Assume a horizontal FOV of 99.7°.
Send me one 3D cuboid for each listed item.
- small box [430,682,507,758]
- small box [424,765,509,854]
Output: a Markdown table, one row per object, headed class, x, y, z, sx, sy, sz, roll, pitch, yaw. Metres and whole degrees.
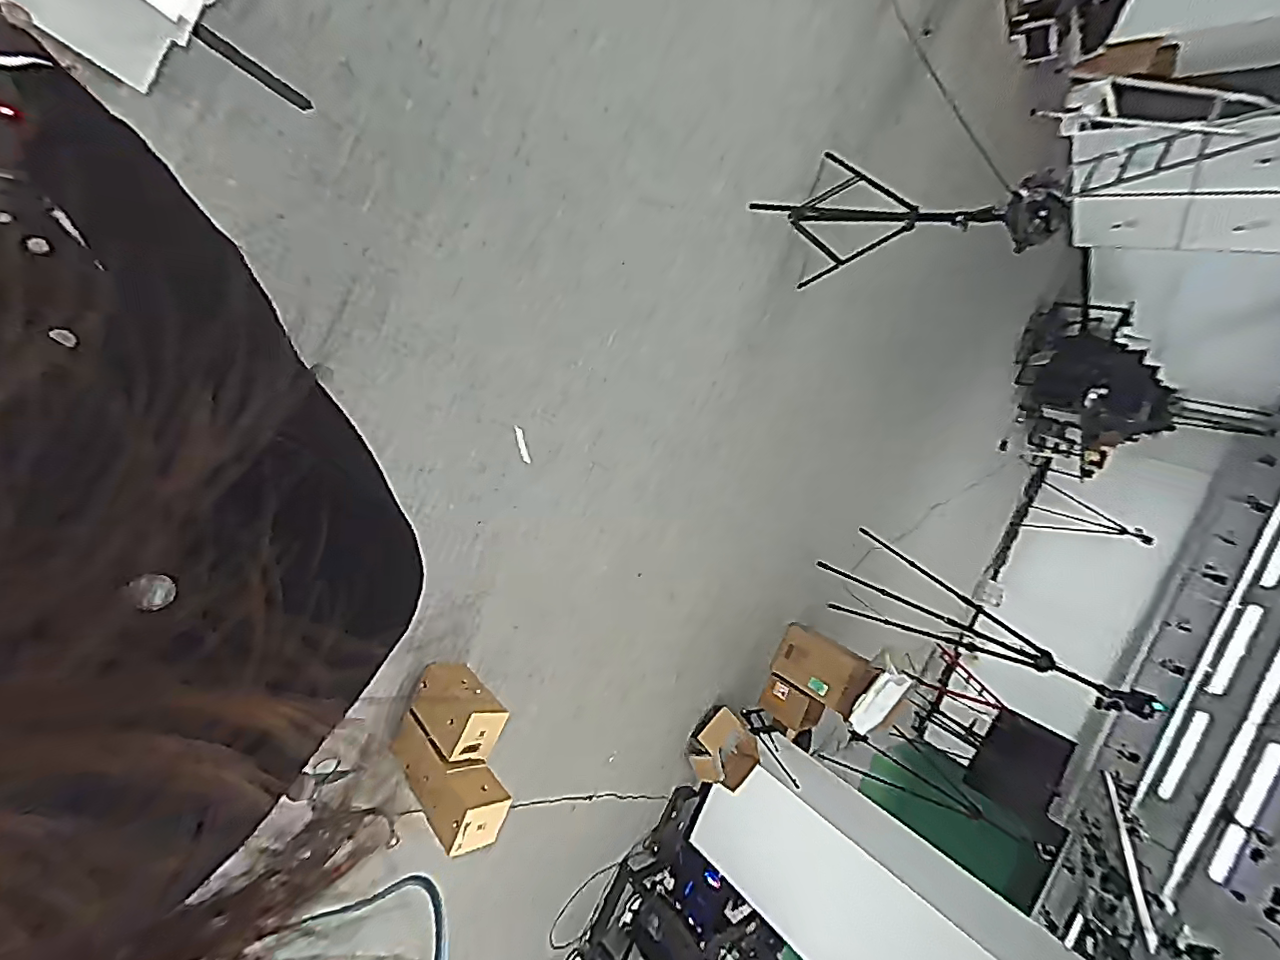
| class | x | y | z | sx | sy | sz | roll | pitch | yaw |
| --- | --- | --- | --- | --- | --- | --- | --- | --- | --- |
| small box | -0.602 | 0.831 | 1.878 | 0.168 | 0.176 | 0.179 | 30 | 85 | -49 |
| small box | -0.573 | 1.073 | 1.781 | 0.179 | 0.176 | 0.168 | 21 | 93 | -50 |
